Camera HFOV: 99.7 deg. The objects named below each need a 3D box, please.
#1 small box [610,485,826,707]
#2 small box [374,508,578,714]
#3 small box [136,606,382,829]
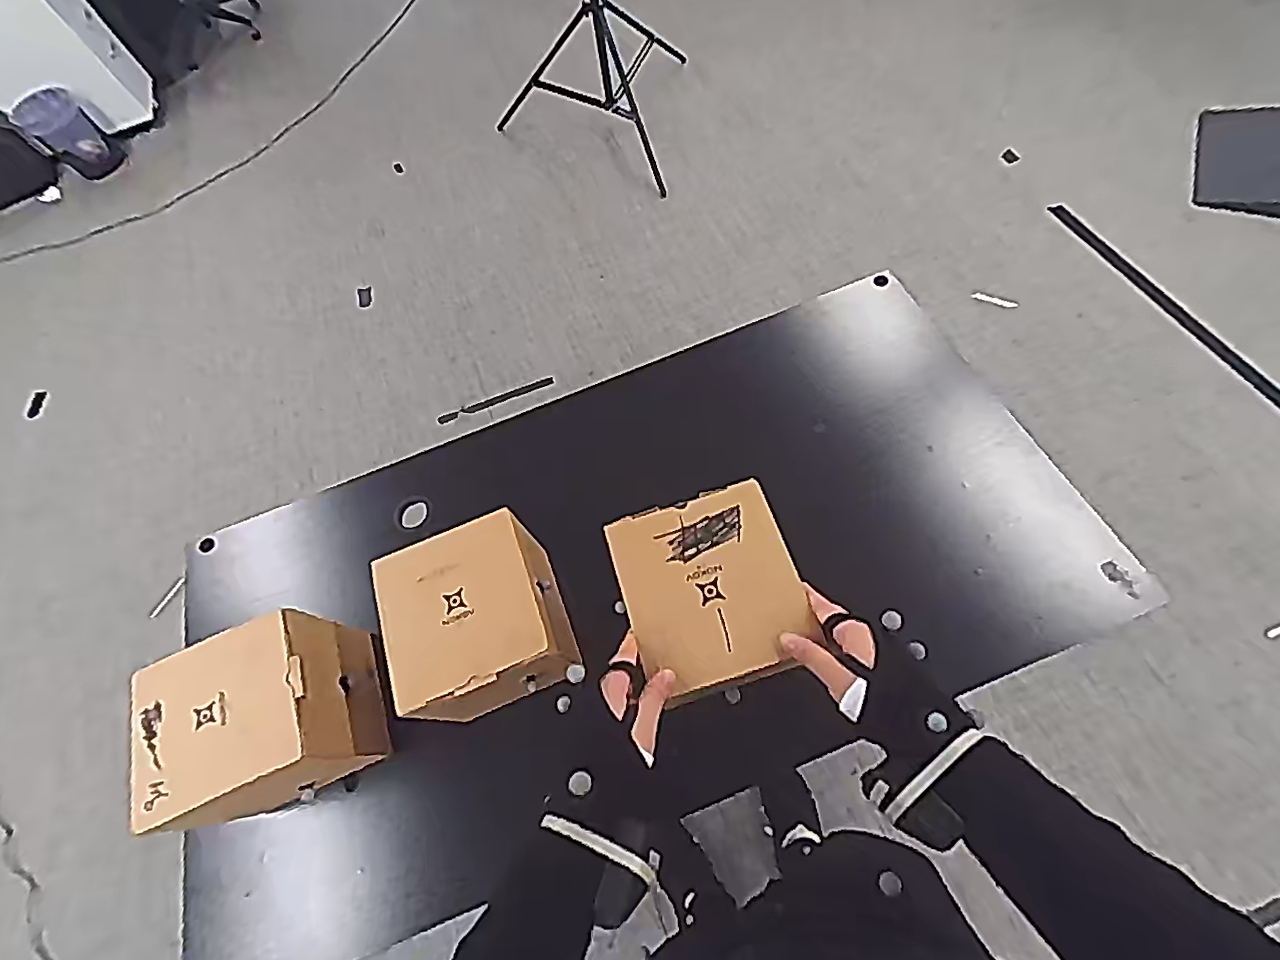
[{"bbox_3d":[0.074,0.134,0.588,0.168,0.176,0.179,-17,65,-1],"label":"small box"},{"bbox_3d":[-0.187,0.166,0.652,0.168,0.176,0.179,-22,63,-5],"label":"small box"},{"bbox_3d":[-0.426,0.270,0.631,0.179,0.176,0.168,-23,64,-6],"label":"small box"}]
